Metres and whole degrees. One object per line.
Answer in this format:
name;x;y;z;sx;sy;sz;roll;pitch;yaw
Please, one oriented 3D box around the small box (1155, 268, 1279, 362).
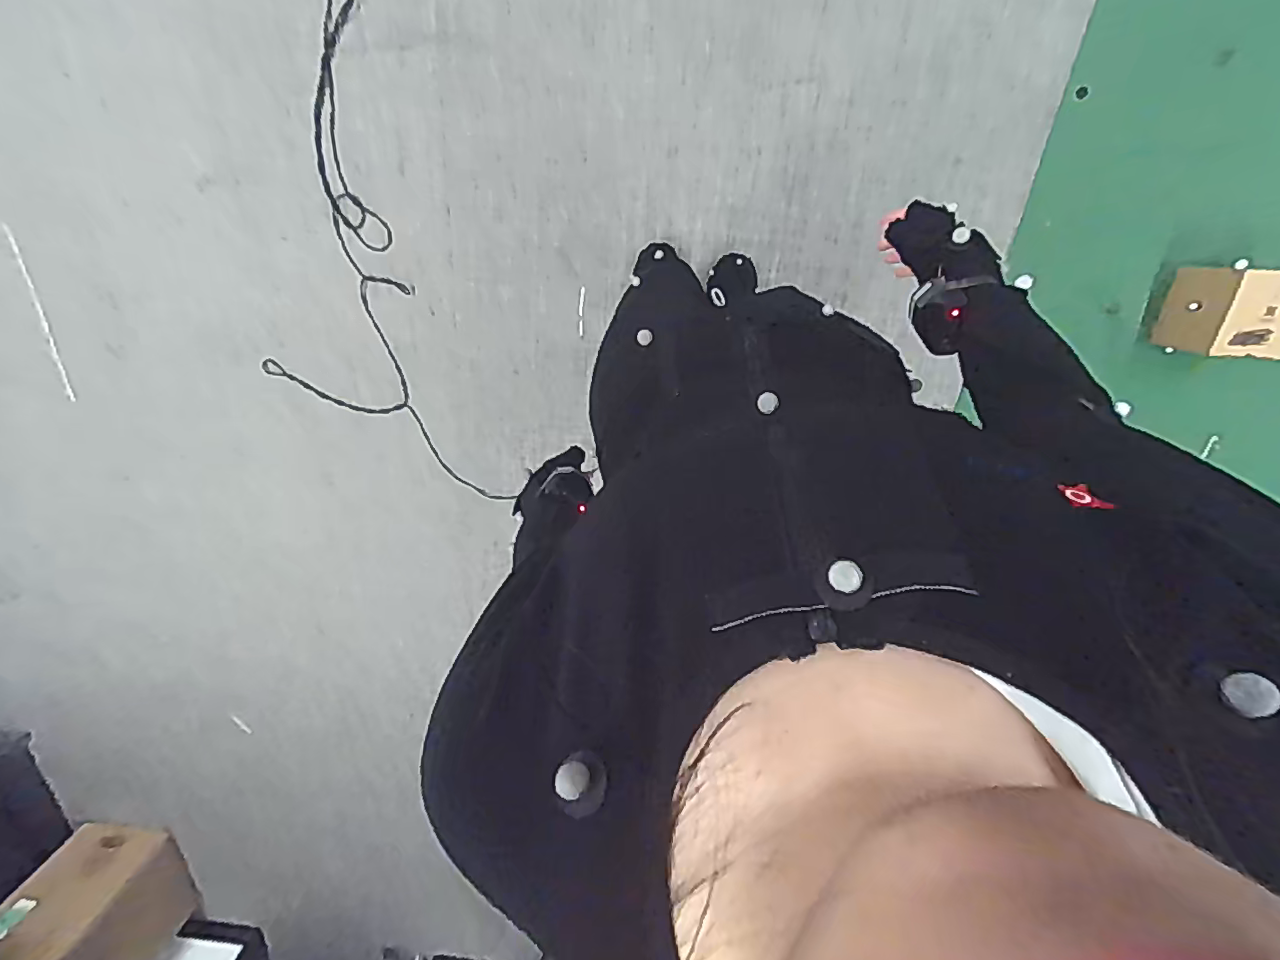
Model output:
small box;1.303;-0.366;1.188;0.168;0.176;0.179;4;113;3
